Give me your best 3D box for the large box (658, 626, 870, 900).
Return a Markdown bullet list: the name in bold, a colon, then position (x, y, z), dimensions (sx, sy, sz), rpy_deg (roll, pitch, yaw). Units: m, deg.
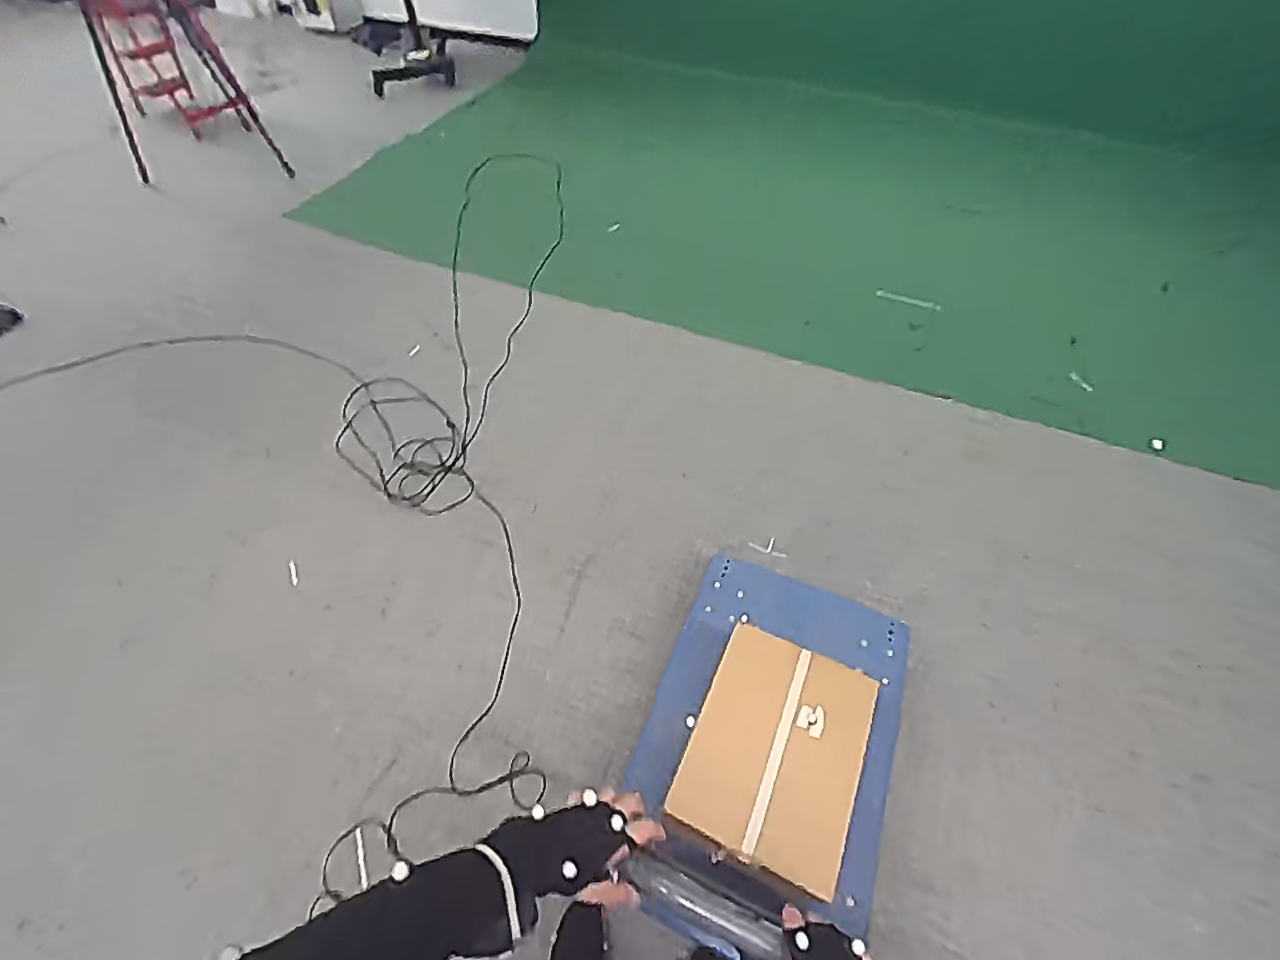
- **large box**: position (0.257, 0.606, 1.168), dimensions (0.320, 0.320, 0.408), rpy_deg (22, 55, 14)
